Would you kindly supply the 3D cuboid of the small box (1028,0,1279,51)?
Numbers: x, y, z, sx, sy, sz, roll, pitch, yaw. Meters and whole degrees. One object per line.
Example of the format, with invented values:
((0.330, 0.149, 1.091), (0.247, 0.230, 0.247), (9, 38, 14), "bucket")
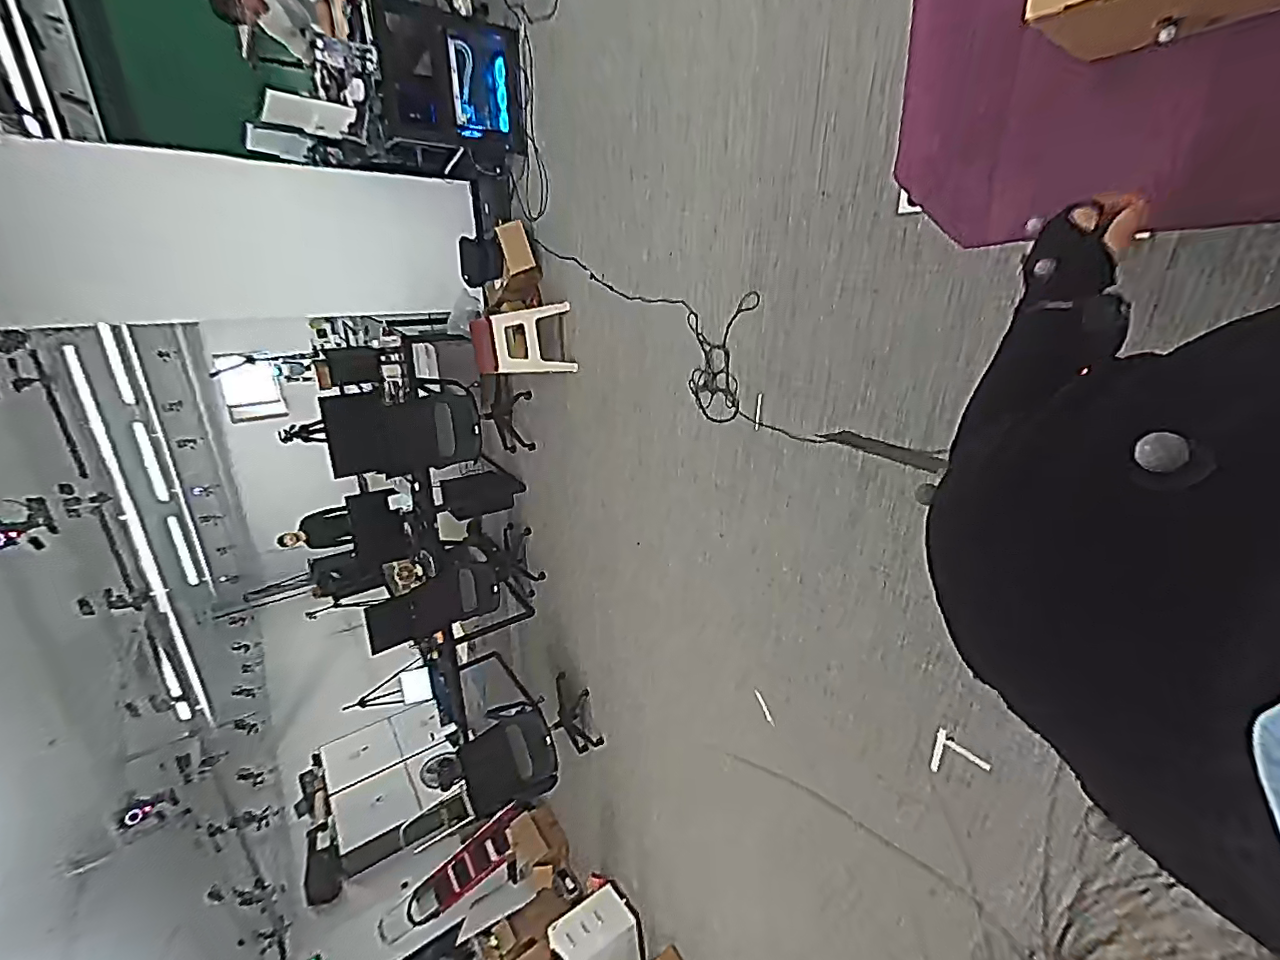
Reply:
((0.457, -0.492, 0.437), (0.168, 0.176, 0.179), (24, 122, 49), "small box")
